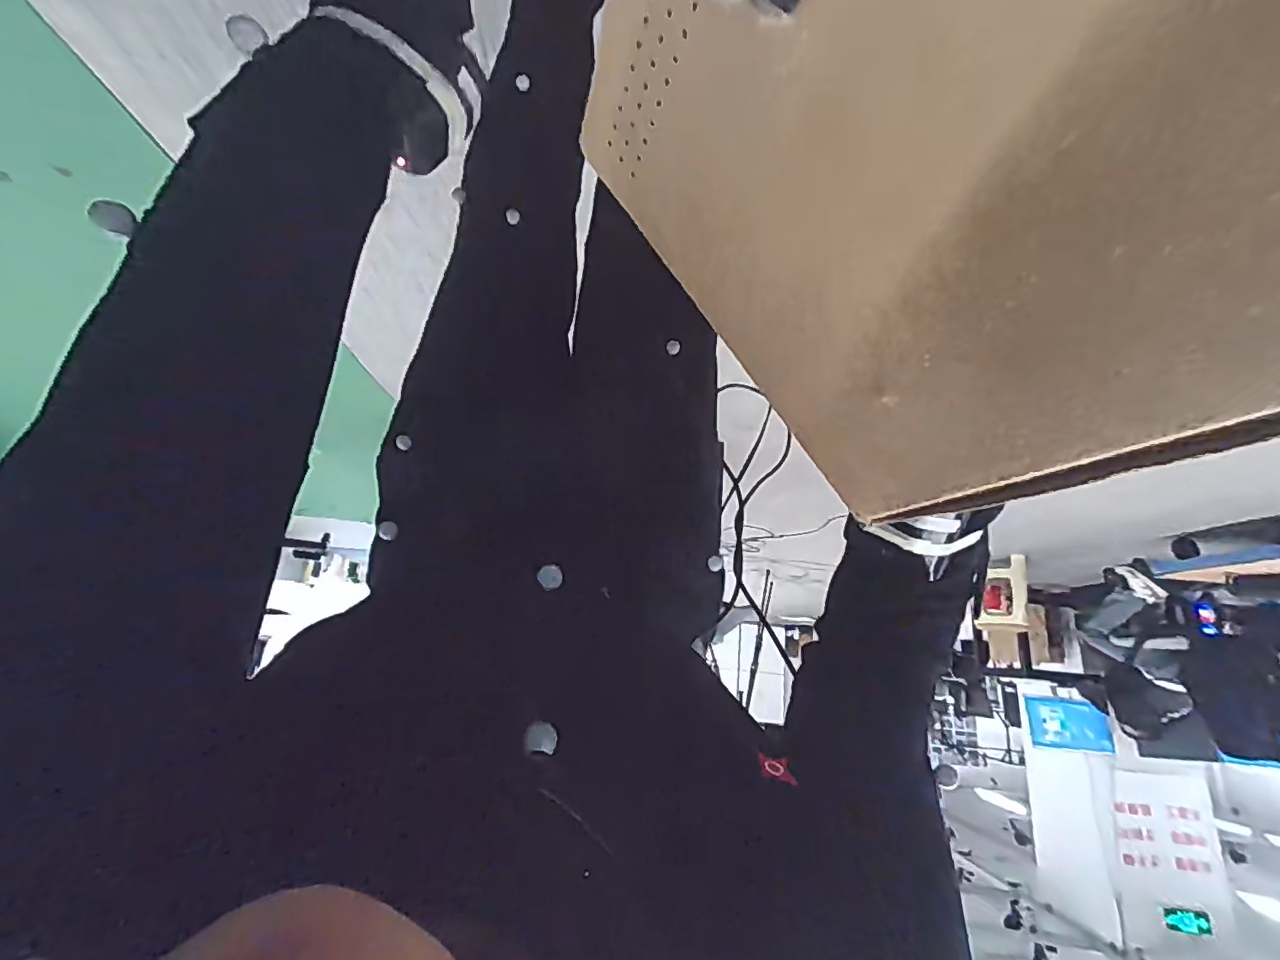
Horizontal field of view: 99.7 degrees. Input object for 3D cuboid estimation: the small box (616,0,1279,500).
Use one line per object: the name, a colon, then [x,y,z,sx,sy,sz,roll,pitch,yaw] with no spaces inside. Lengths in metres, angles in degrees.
small box: [0.116,-0.121,0.138,0.168,0.176,0.179,-36,178,-22]
